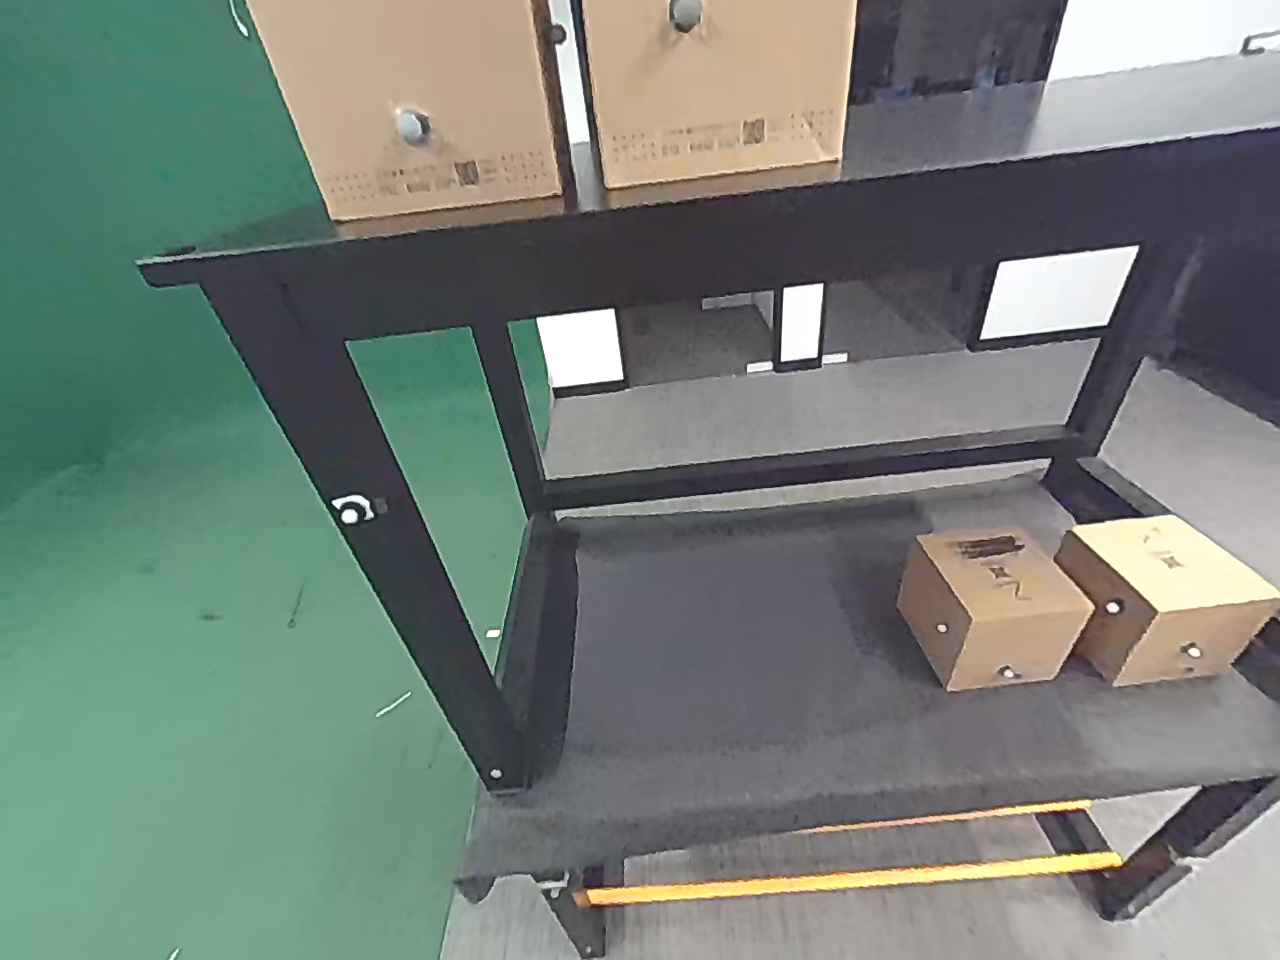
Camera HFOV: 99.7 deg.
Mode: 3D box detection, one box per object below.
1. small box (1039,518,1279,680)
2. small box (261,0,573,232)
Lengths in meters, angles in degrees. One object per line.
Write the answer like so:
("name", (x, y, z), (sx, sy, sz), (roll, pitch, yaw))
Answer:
("small box", (0.762, 0.184, 0.821), (0.168, 0.176, 0.179), (-7, 34, 1))
("small box", (-0.148, -0.298, 0.411), (0.168, 0.176, 0.179), (-7, 36, 1))
